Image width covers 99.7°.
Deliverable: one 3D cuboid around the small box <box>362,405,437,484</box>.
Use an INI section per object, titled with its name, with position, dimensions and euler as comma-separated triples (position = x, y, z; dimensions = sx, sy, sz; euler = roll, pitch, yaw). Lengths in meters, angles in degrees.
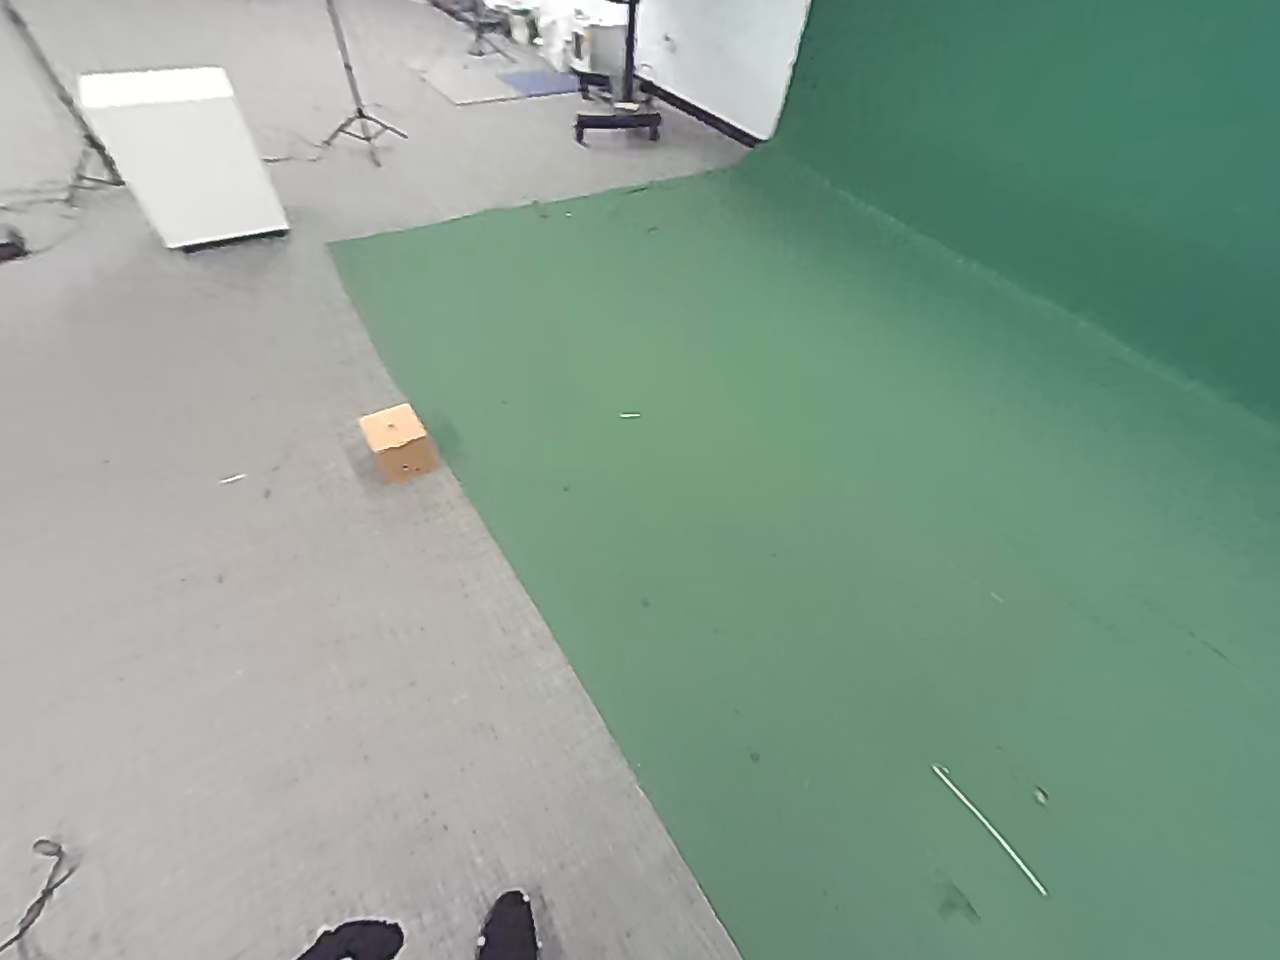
[small box]
position = -0.807, -0.118, 1.823
dimensions = 0.168, 0.176, 0.179
euler = -26, 58, -24
